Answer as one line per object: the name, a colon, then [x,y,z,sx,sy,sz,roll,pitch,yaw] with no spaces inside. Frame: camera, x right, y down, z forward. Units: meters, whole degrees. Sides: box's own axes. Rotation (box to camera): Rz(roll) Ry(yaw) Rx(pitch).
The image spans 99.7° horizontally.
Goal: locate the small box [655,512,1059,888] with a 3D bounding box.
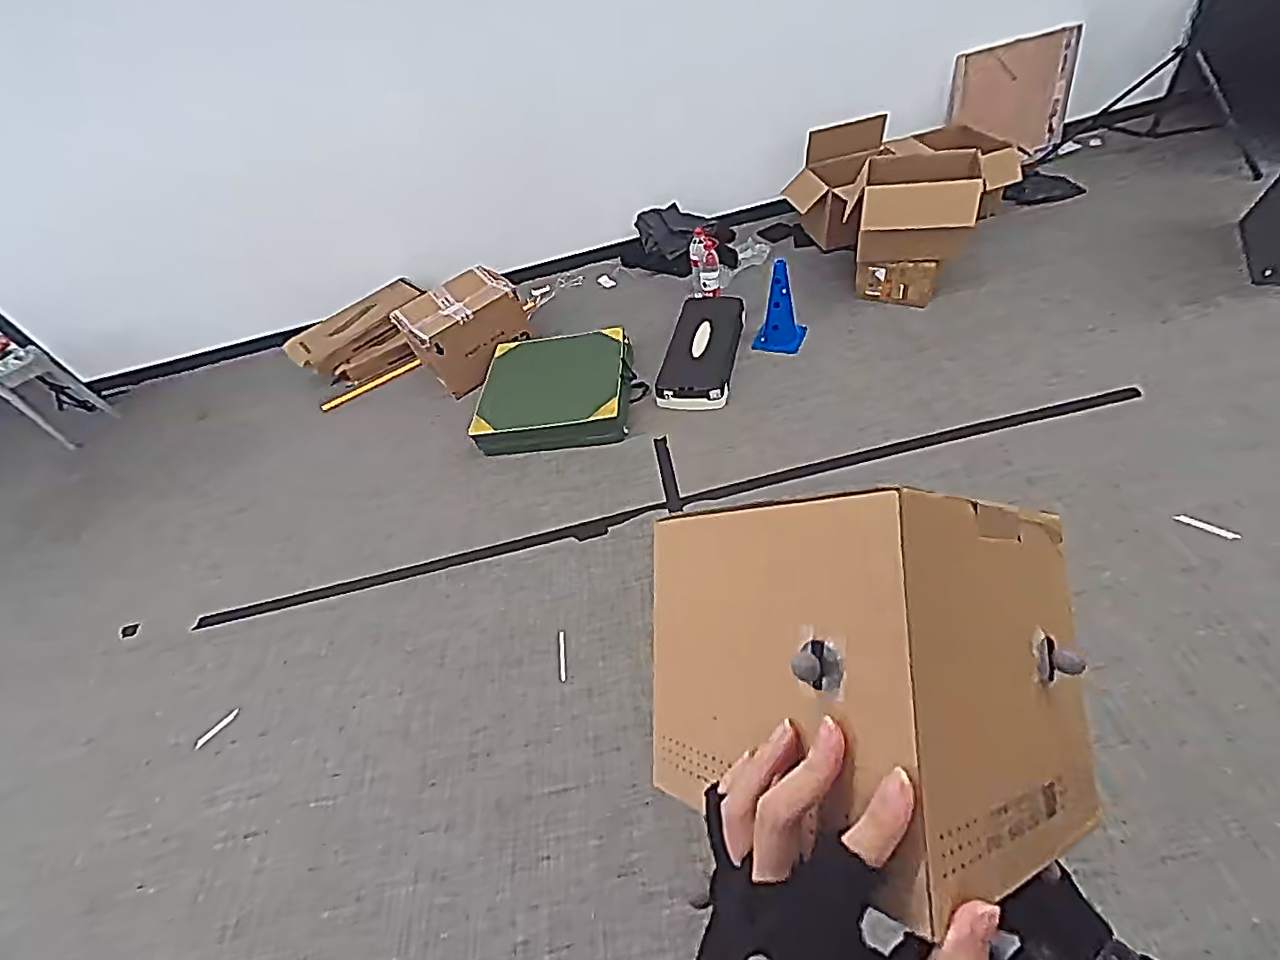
small box: [0.124,0.115,0.337,0.179,0.168,0.176,-15,71,55]
